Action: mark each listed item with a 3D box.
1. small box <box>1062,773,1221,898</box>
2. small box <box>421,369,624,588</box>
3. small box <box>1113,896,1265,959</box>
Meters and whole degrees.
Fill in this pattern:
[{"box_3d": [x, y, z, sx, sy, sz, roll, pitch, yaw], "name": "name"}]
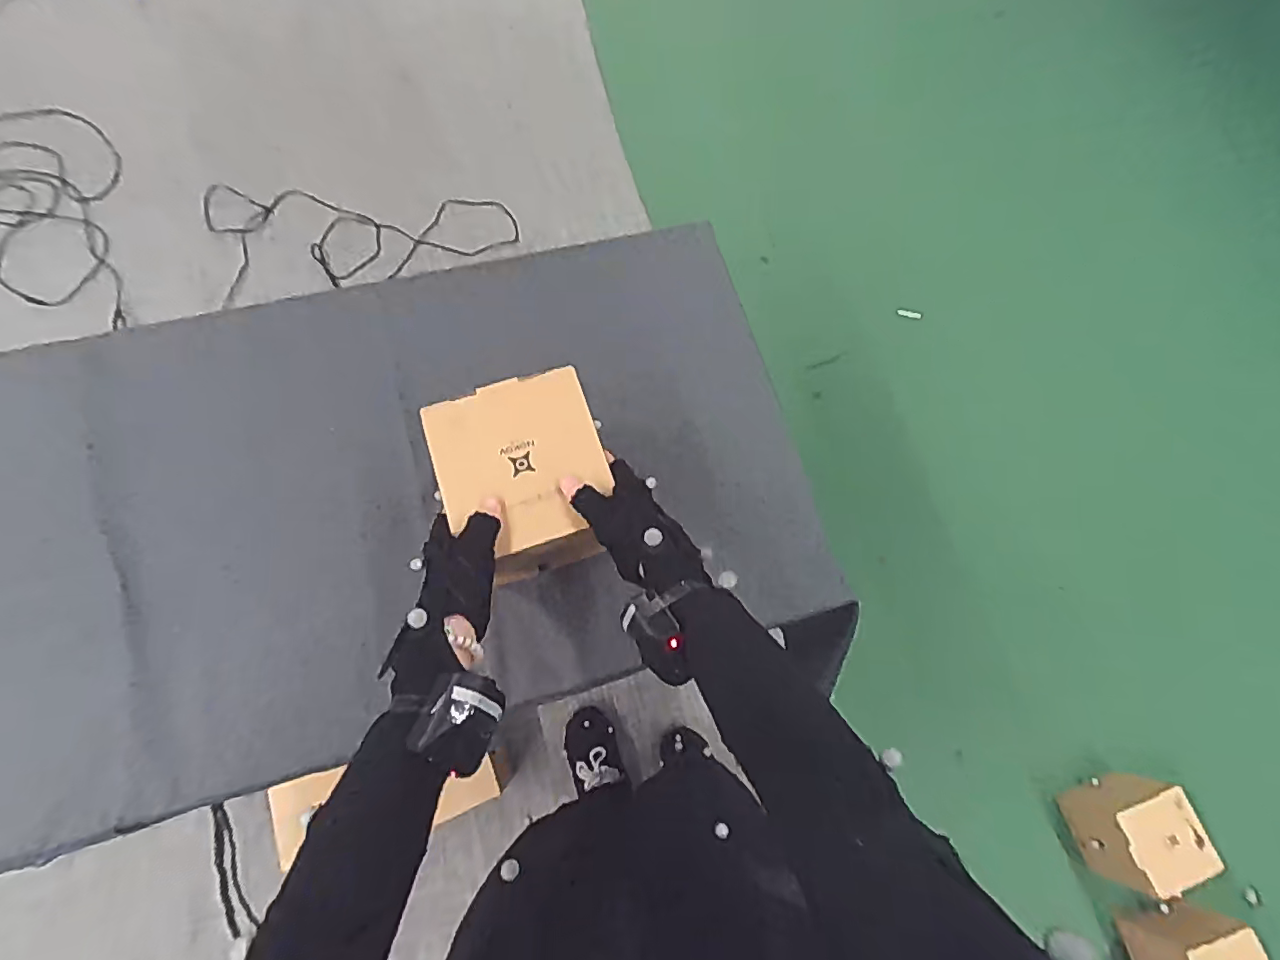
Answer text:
[{"box_3d": [1.102, 0.785, 1.212, 0.179, 0.176, 0.168, -16, 75, -7], "name": "small box"}, {"box_3d": [-0.123, 0.008, 0.606, 0.168, 0.176, 0.179, -17, 75, -8], "name": "small box"}, {"box_3d": [1.173, 1.032, 1.140, 0.168, 0.176, 0.179, -12, 74, -8], "name": "small box"}]
